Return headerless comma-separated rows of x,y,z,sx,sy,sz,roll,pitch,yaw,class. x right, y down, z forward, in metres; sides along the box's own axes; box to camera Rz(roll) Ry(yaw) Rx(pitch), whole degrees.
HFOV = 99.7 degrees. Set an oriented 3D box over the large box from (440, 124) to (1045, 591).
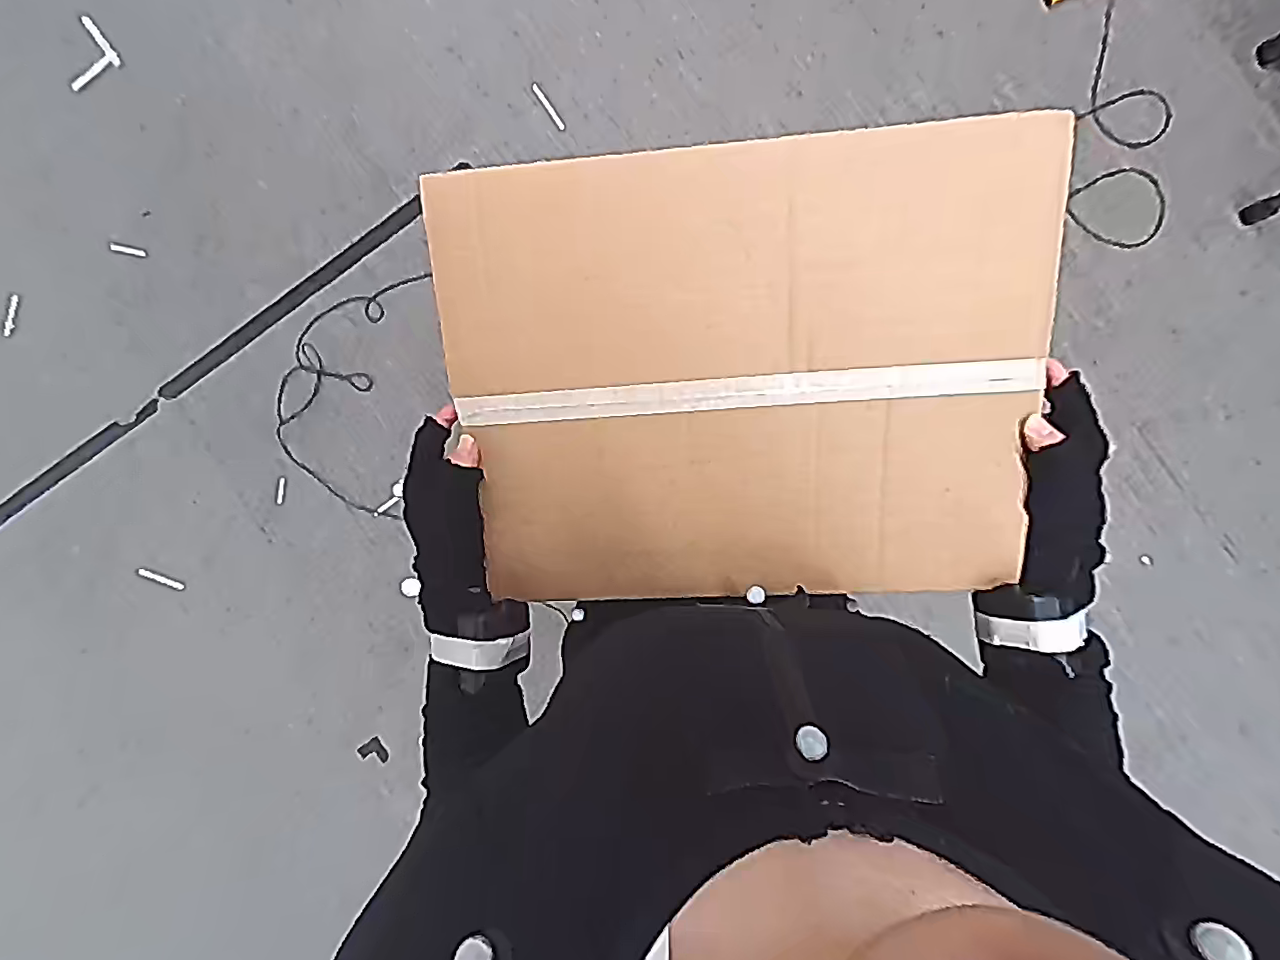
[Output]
0.077,-0.105,0.537,0.408,0.320,0.320,-3,107,5,large box
